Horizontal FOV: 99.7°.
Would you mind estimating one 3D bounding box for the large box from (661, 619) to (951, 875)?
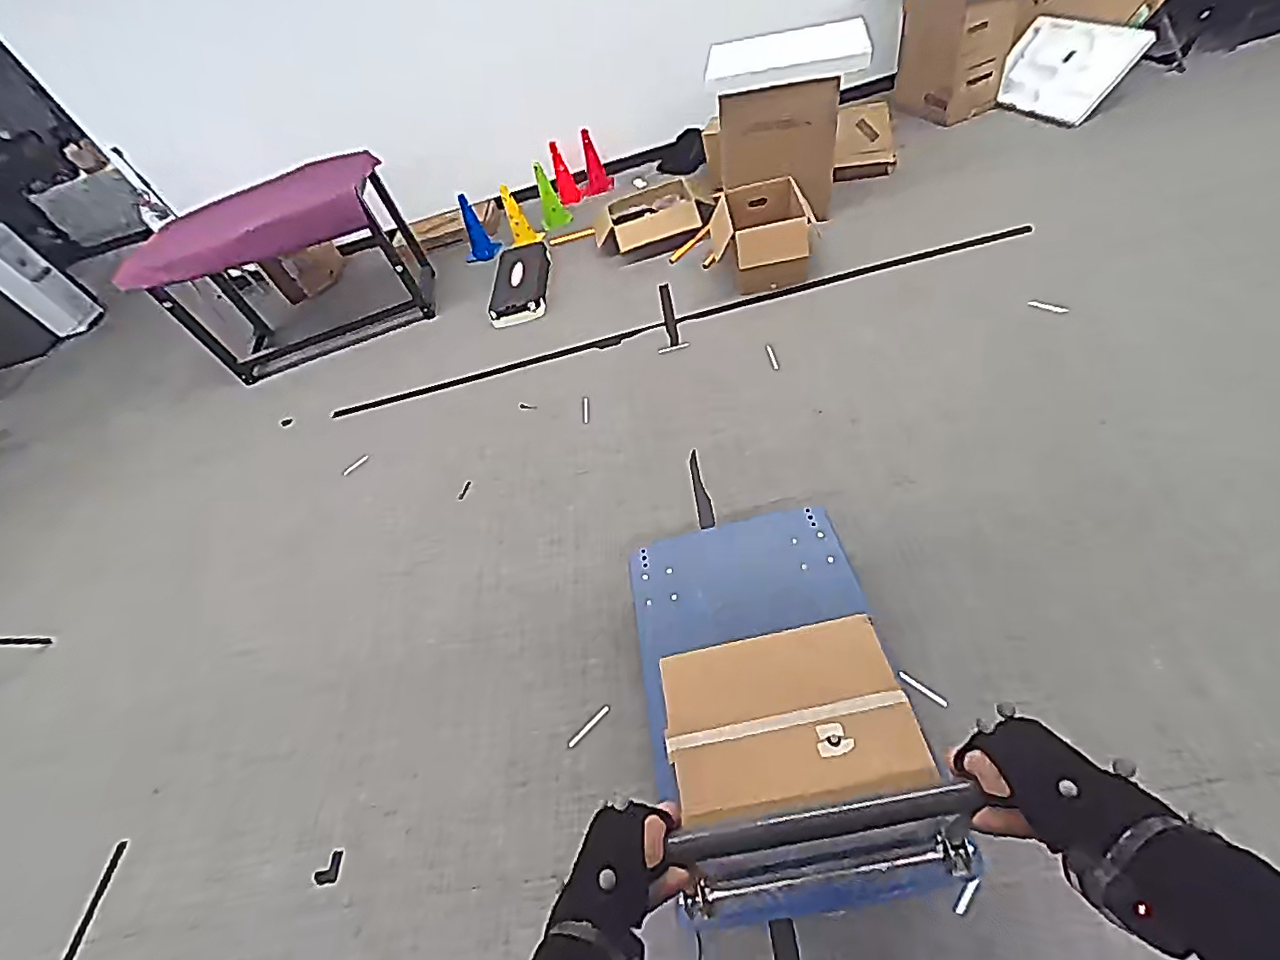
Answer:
[{"bbox_3d":[0.281,0.509,1.017,0.408,0.320,0.320,-14,49,5],"label":"large box"}]
